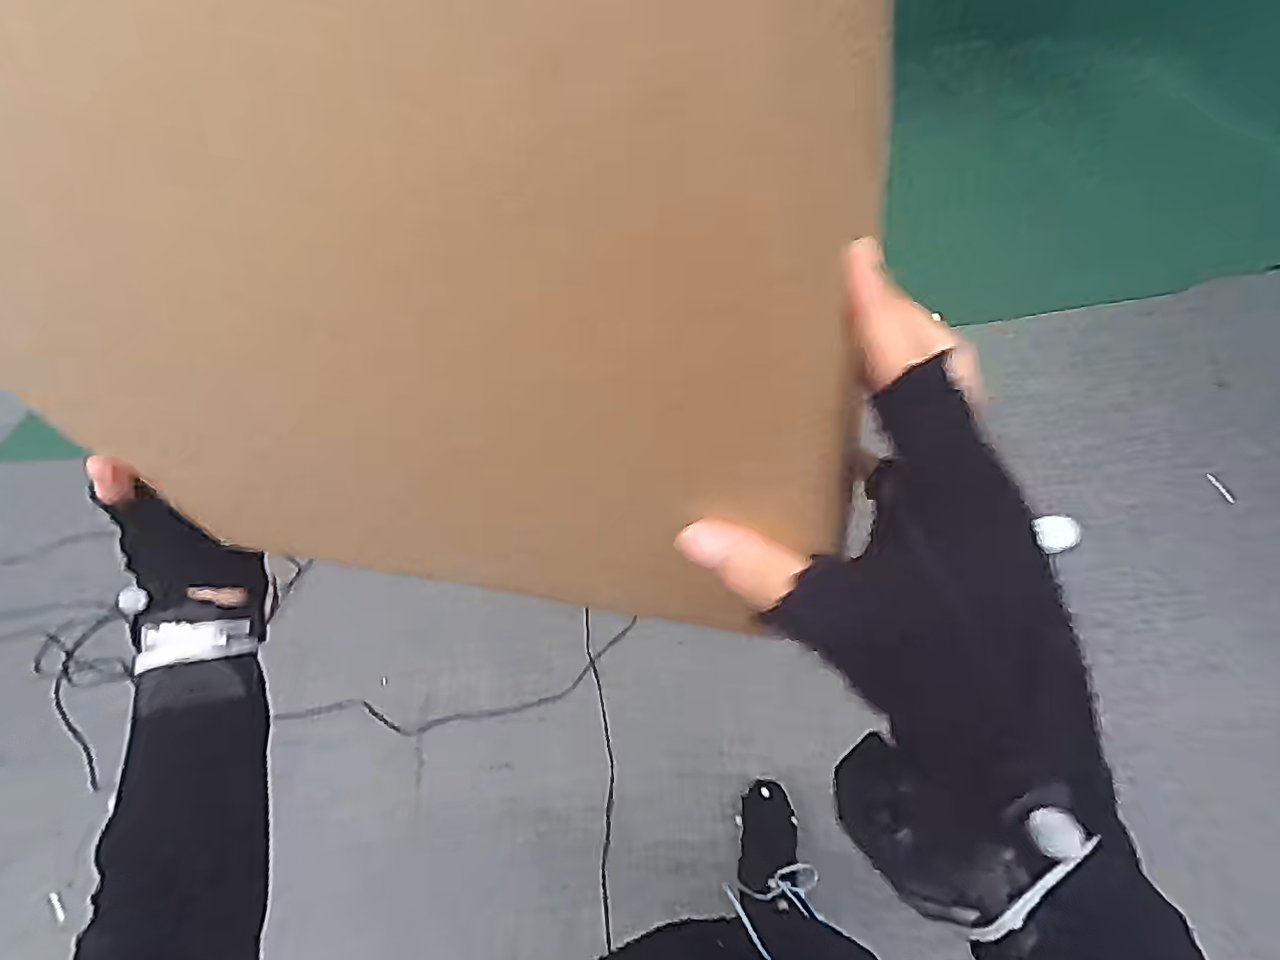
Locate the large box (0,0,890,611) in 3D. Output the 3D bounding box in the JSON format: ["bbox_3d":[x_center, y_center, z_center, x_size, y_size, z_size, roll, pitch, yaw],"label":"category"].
[{"bbox_3d":[-0.094,-0.161,0.284,0.408,0.320,0.320,3,50,25],"label":"large box"}]
